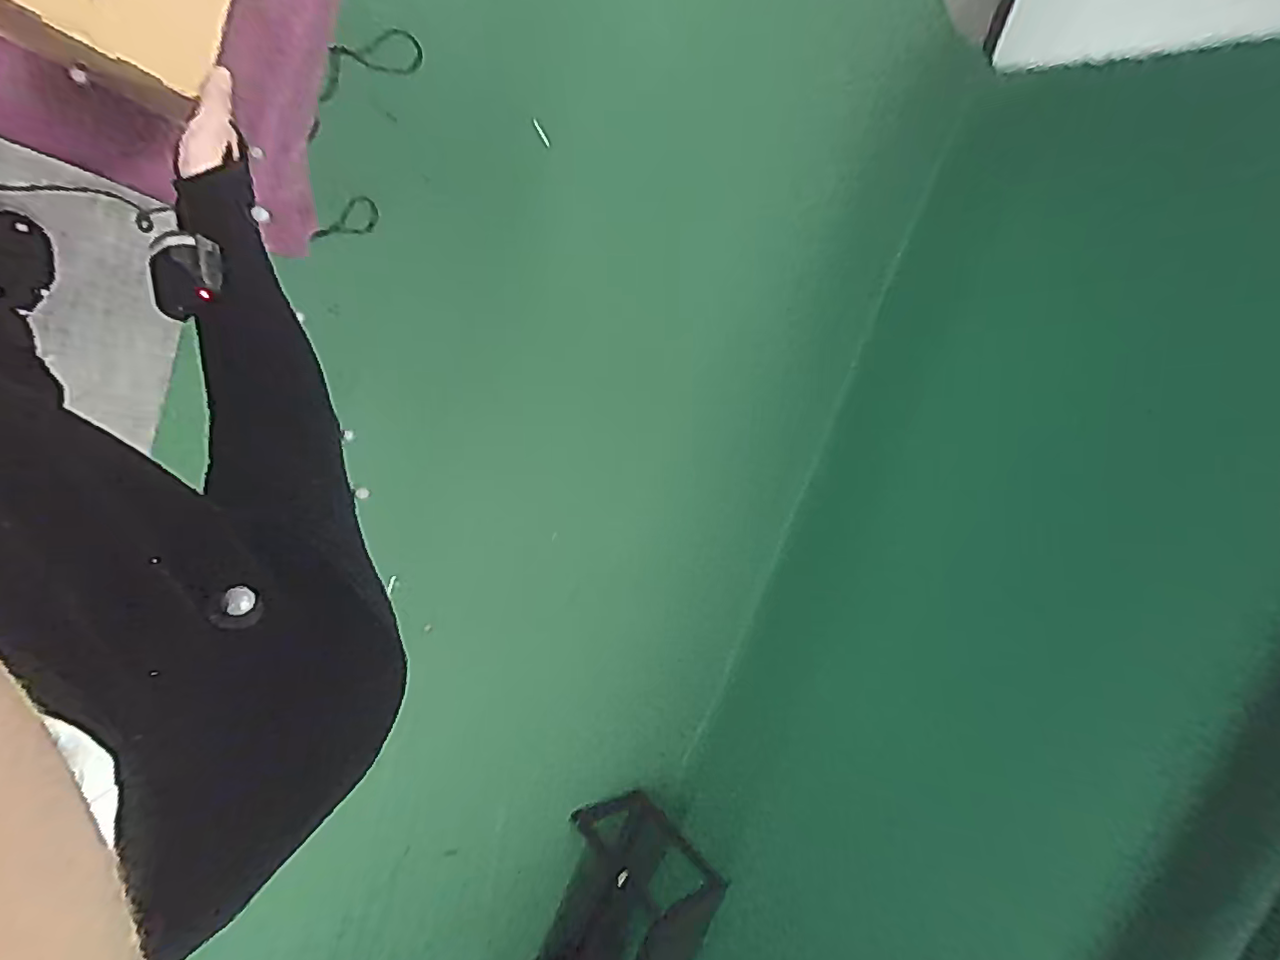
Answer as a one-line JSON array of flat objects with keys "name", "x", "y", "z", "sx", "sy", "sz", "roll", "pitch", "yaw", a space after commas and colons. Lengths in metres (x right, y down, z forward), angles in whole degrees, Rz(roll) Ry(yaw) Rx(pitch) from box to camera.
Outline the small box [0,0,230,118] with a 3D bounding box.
[{"name": "small box", "x": -0.484, "y": -0.469, "z": 0.487, "sx": 0.168, "sy": 0.176, "sz": 0.179, "roll": 14, "pitch": 98, "yaw": -46}]
